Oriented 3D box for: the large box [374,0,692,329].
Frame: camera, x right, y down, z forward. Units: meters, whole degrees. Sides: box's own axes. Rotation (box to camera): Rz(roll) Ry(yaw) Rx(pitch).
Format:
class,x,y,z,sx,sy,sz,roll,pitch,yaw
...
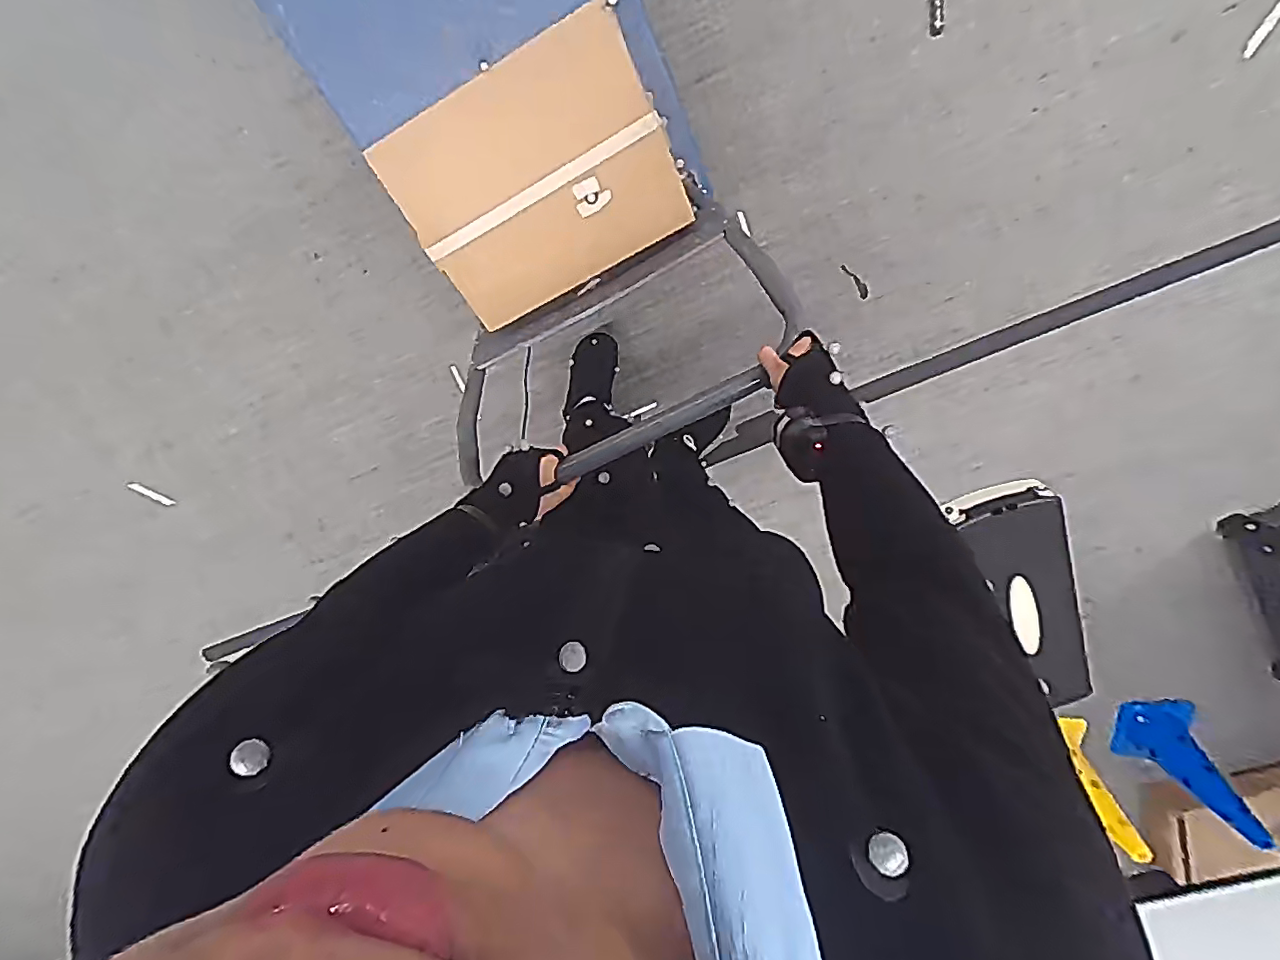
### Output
class,x,y,z,sx,sy,sz,roll,pitch,yaw
large box,-0.173,-0.542,0.960,0.408,0.320,0.320,-26,127,10
